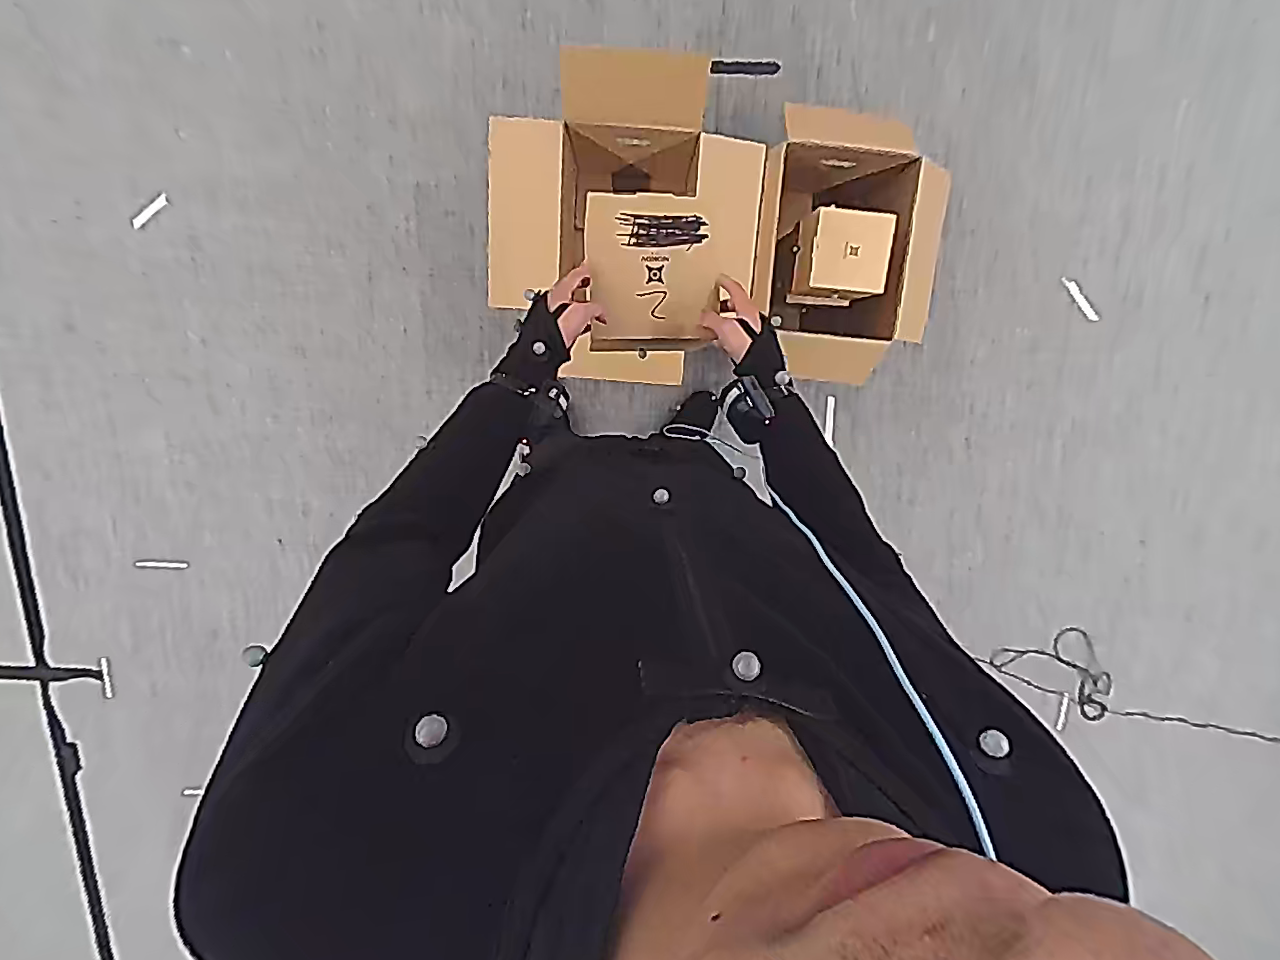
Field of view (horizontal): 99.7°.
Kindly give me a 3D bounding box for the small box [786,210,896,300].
[{"bbox_3d":[0.463,-0.519,1.268,0.179,0.176,0.168,4,104,-2],"label":"small box"}]
